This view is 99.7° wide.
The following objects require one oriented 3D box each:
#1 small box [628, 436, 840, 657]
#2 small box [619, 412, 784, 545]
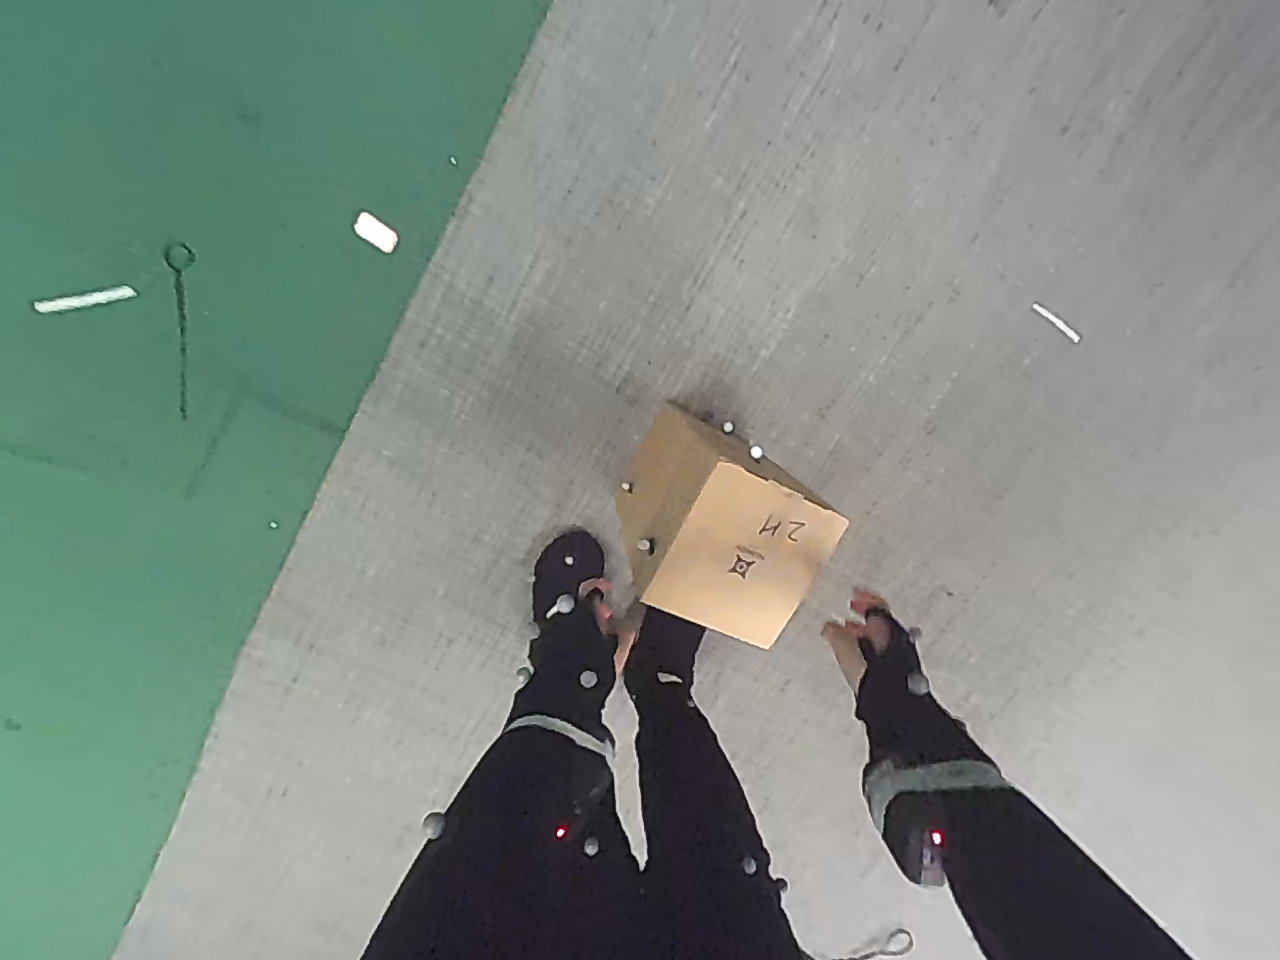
[{"bbox_3d":[0.094,0.070,0.647,0.168,0.176,0.179,24,103,-15],"label":"small box"},{"bbox_3d":[0.078,0.021,0.803,0.168,0.176,0.179,26,102,-15],"label":"small box"}]
